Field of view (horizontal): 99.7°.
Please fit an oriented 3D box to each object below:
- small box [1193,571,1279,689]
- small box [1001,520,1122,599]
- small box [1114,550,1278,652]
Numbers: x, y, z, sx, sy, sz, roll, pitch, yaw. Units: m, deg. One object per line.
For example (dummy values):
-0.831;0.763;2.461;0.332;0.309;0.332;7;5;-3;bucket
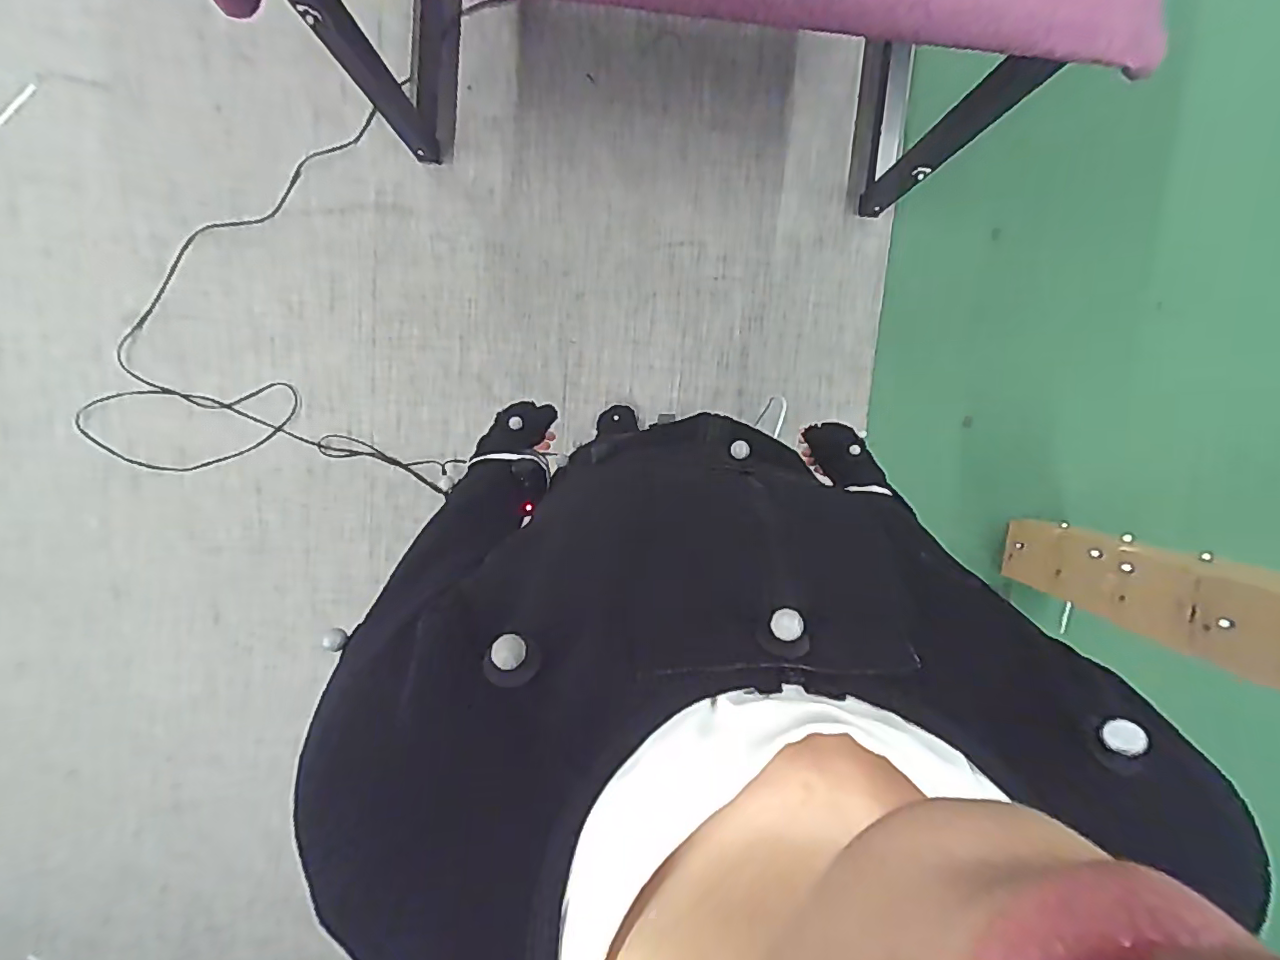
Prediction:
1.158;0.263;0.959;0.179;0.176;0.168;-1;97;-2;small box
1.121;0.207;1.448;0.179;0.176;0.168;6;97;-2;small box
1.143;0.245;1.122;0.179;0.176;0.168;0;97;-3;small box
